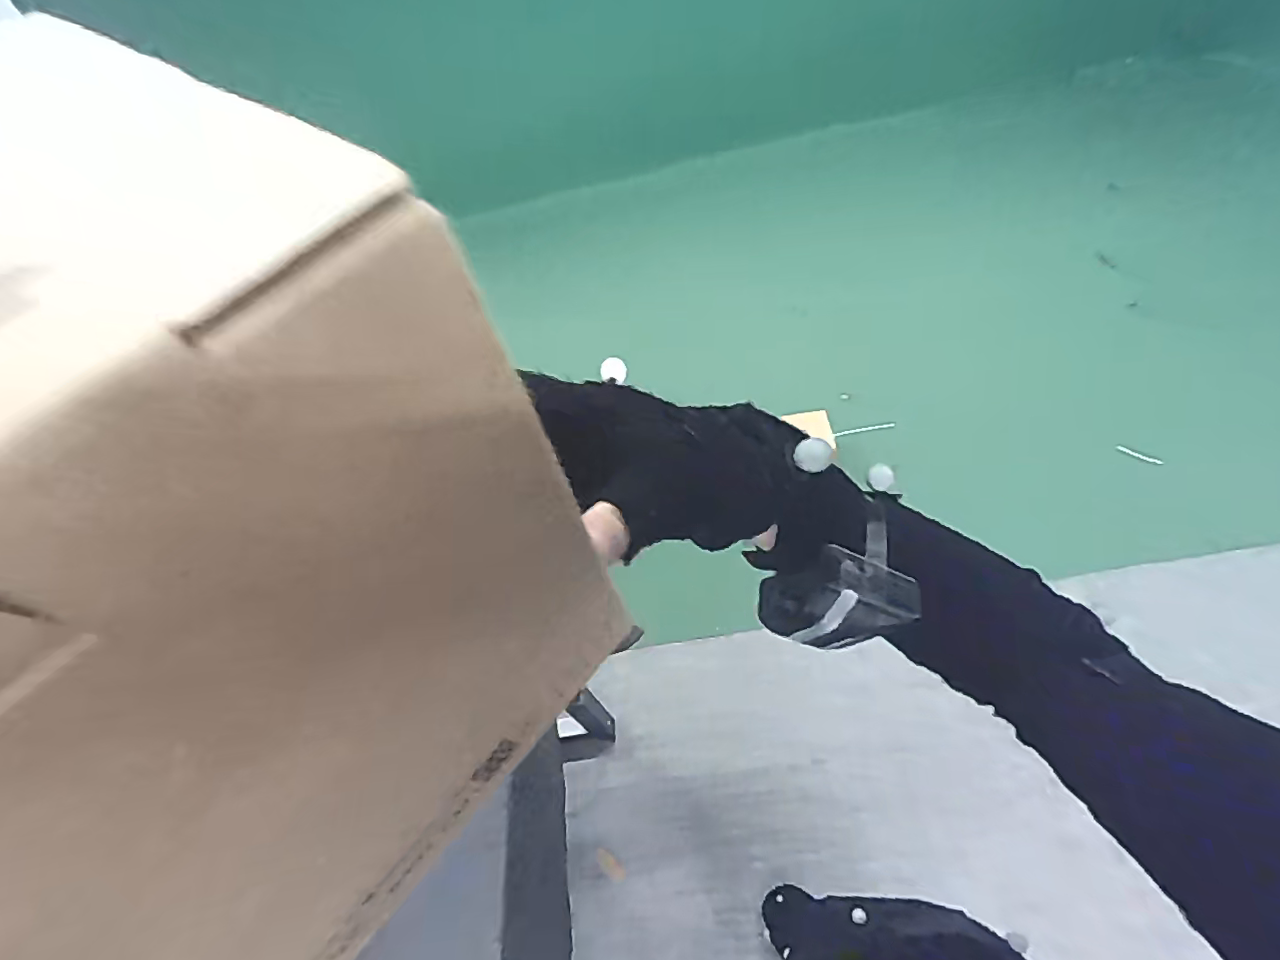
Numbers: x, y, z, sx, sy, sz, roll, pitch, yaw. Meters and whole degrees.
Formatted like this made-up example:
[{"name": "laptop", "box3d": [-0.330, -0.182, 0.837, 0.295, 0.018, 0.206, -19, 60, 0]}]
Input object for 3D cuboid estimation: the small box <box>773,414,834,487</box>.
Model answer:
[{"name": "small box", "box3d": [0.537, -0.092, 1.790, 0.168, 0.176, 0.179, -7, 50, 9]}]
